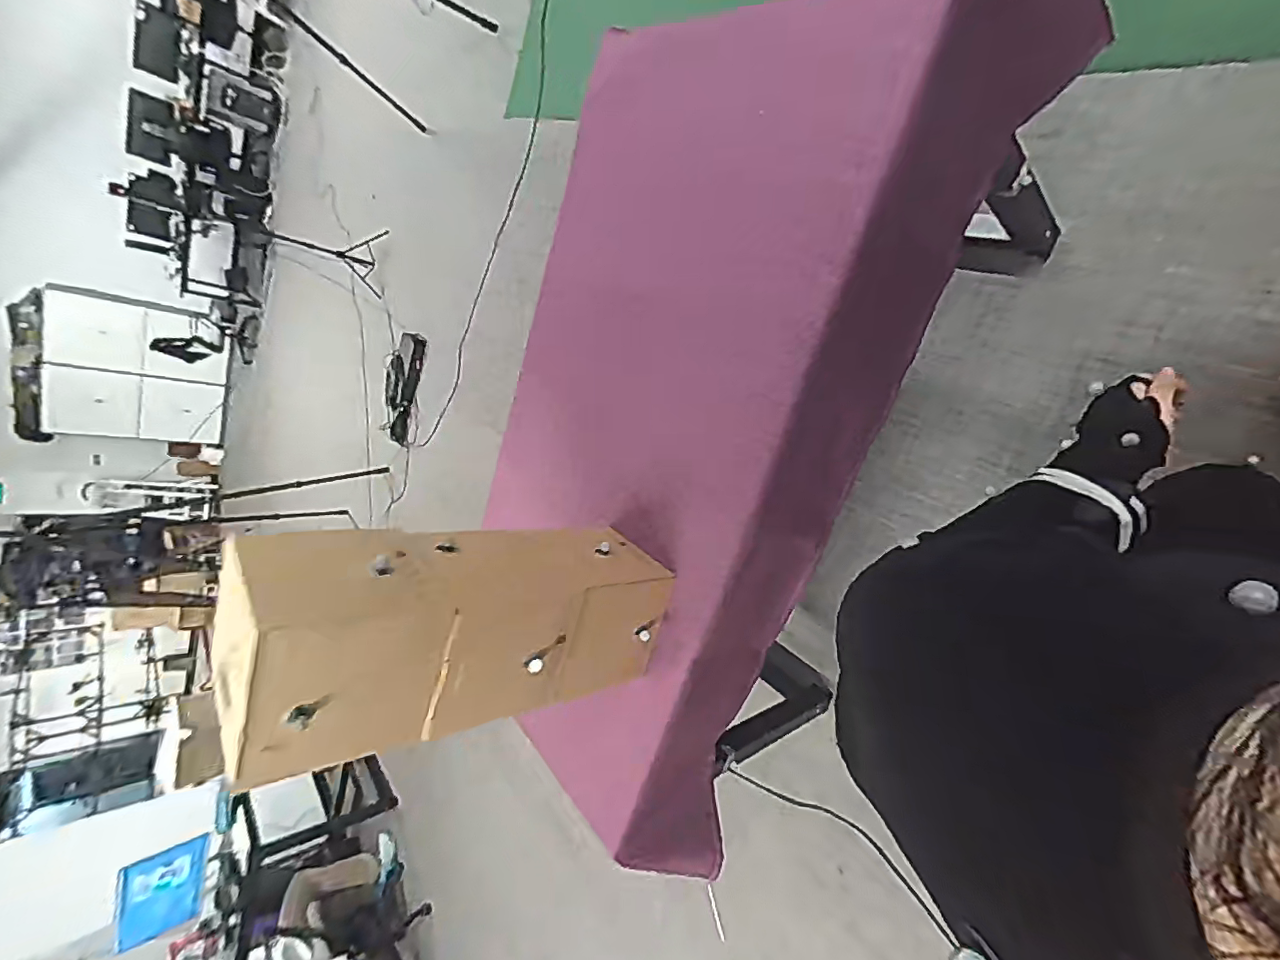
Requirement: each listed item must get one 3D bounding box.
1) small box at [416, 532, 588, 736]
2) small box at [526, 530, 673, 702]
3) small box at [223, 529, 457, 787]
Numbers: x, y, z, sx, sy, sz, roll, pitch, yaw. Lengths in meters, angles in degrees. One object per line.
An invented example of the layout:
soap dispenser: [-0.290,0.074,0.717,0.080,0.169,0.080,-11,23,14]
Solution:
small box: [-0.195,0.175,0.677,0.179,0.176,0.168,32,111,41]
small box: [-0.075,0.183,0.791,0.168,0.176,0.179,30,108,42]
small box: [-0.310,0.165,0.559,0.168,0.176,0.179,34,111,40]
